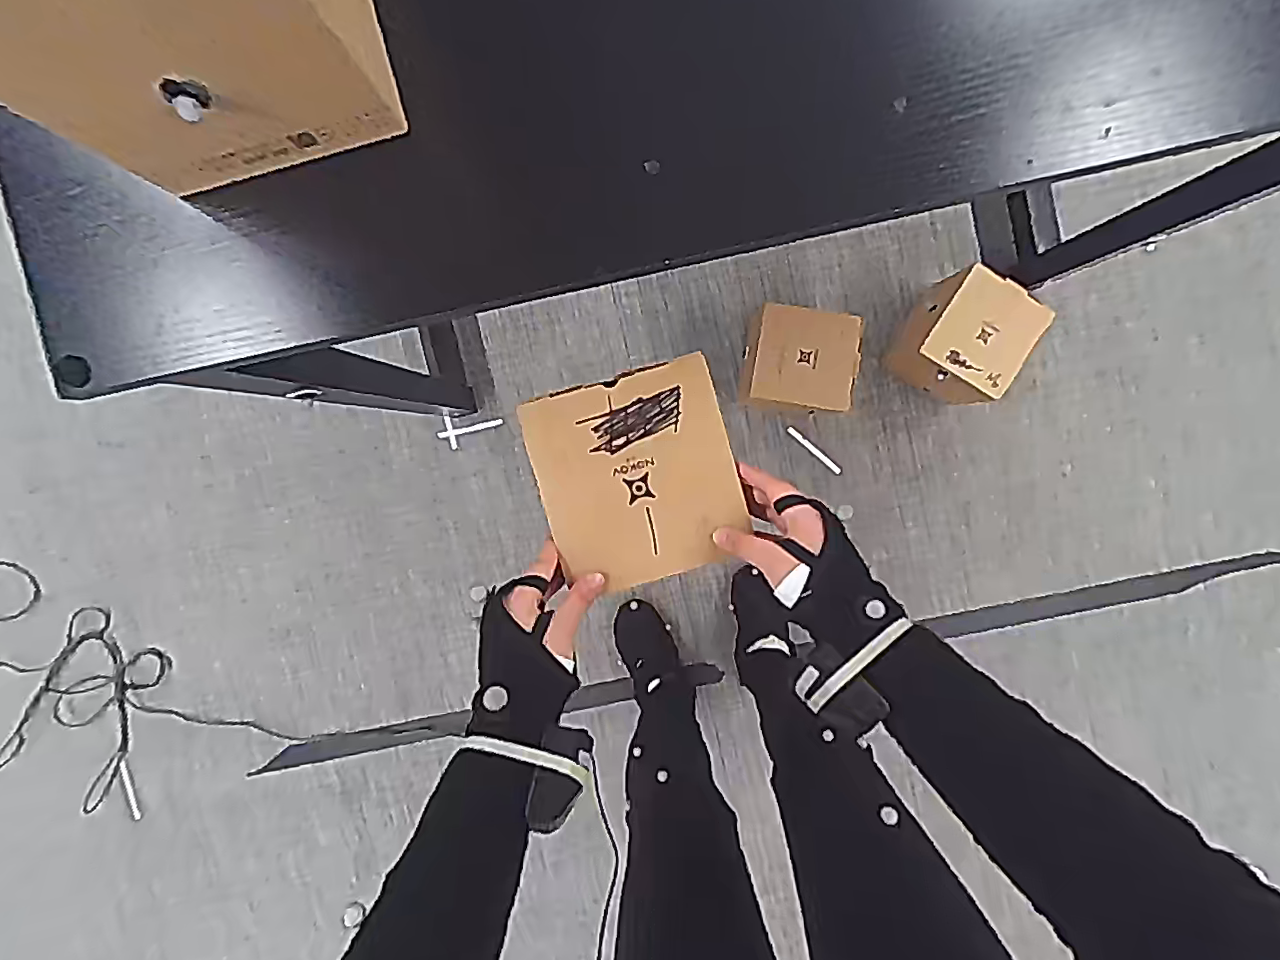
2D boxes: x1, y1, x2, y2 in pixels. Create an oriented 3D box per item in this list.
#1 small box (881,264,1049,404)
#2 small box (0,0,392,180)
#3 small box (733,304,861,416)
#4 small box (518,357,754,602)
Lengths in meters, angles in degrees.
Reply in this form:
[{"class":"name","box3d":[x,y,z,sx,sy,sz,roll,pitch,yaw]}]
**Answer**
[{"class":"small box","box3d":[0.582,-0.256,0.995,0.168,0.176,0.179,31,94,-1]},{"class":"small box","box3d":[-0.256,-0.283,0.274,0.168,0.176,0.179,-15,93,1]},{"class":"small box","box3d":[0.281,-0.214,1.006,0.179,0.176,0.168,9,94,1]},{"class":"small box","box3d":[-0.006,-0.002,0.534,0.168,0.176,0.179,-16,93,-1]}]
